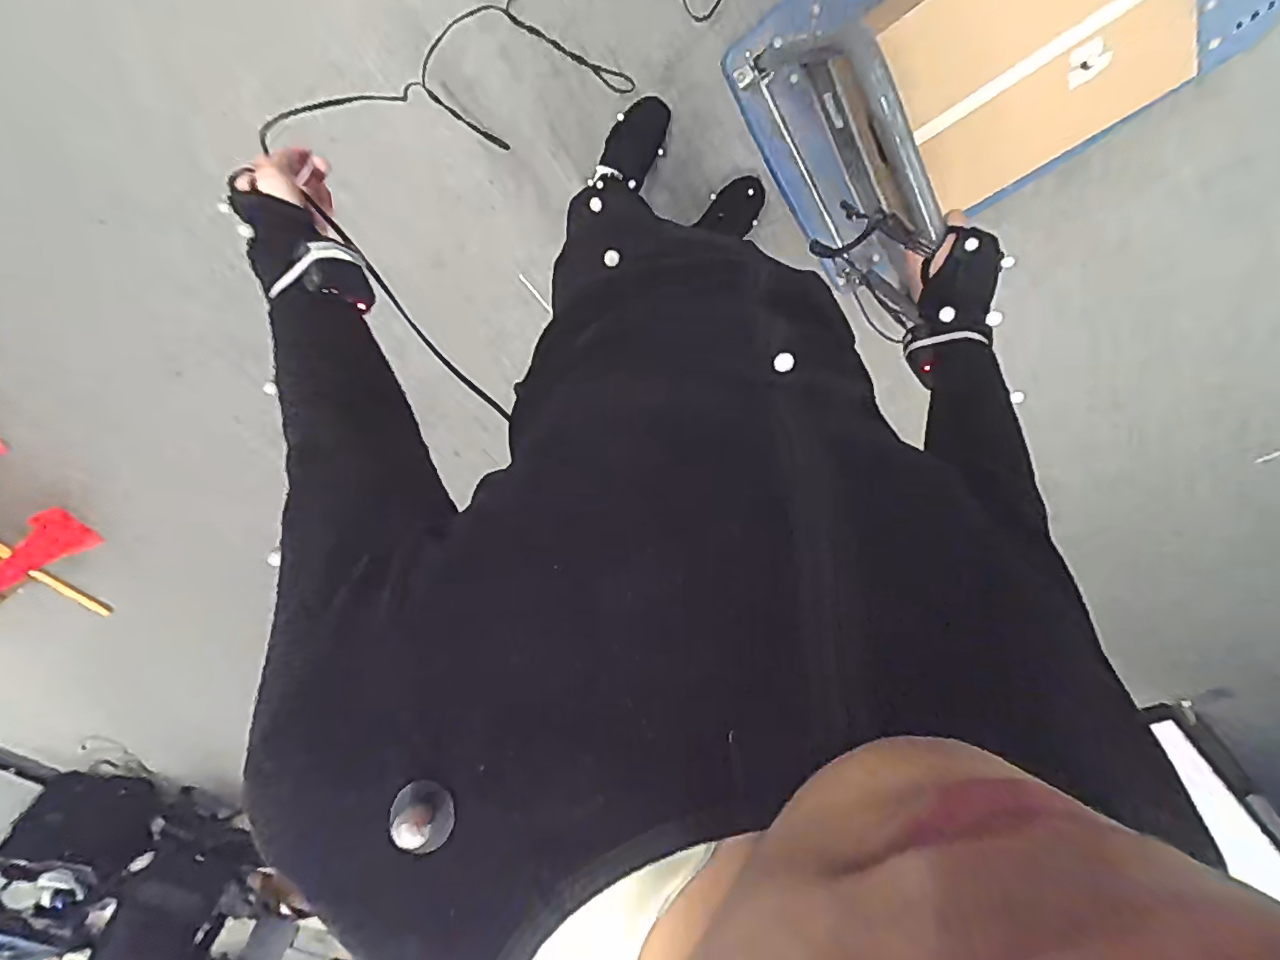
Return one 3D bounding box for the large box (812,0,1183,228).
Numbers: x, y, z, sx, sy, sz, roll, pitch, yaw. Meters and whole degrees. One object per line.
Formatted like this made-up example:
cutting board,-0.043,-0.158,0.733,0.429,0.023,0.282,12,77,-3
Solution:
large box,0.574,-0.717,0.932,0.408,0.320,0.320,-28,122,20
